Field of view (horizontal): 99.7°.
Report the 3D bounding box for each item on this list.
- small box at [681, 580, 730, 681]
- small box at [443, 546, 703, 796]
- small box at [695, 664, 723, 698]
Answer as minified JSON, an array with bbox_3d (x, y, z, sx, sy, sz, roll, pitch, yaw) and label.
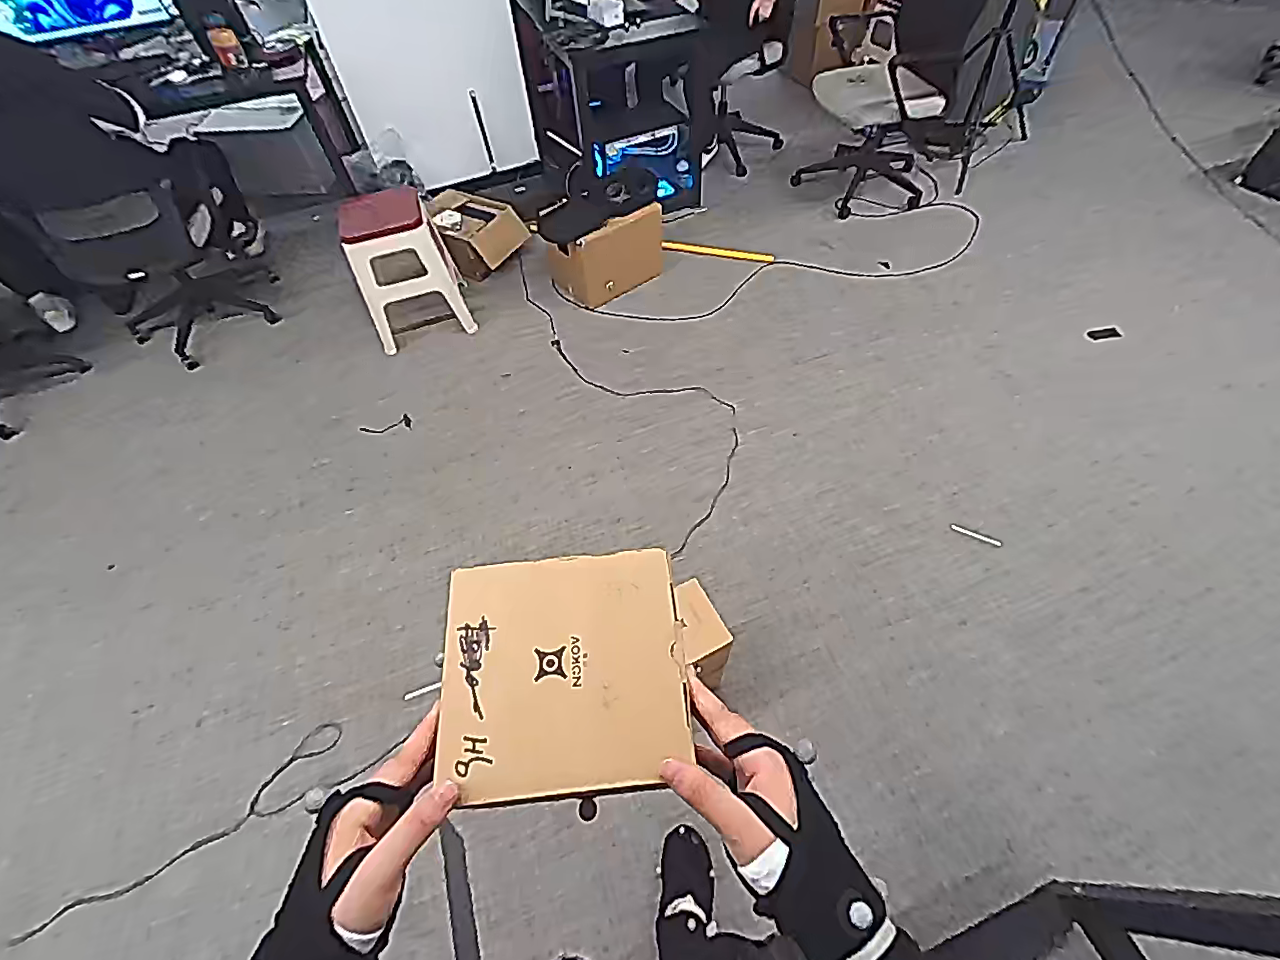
[{"bbox_3d":[0.086,0.365,1.236,0.179,0.176,0.168,-24,57,-14],"label":"small box"},{"bbox_3d":[-0.051,0.170,0.468,0.179,0.176,0.168,-5,58,-3],"label":"small box"},{"bbox_3d":[0.090,0.462,1.366,0.179,0.176,0.168,-22,56,-11],"label":"small box"}]
